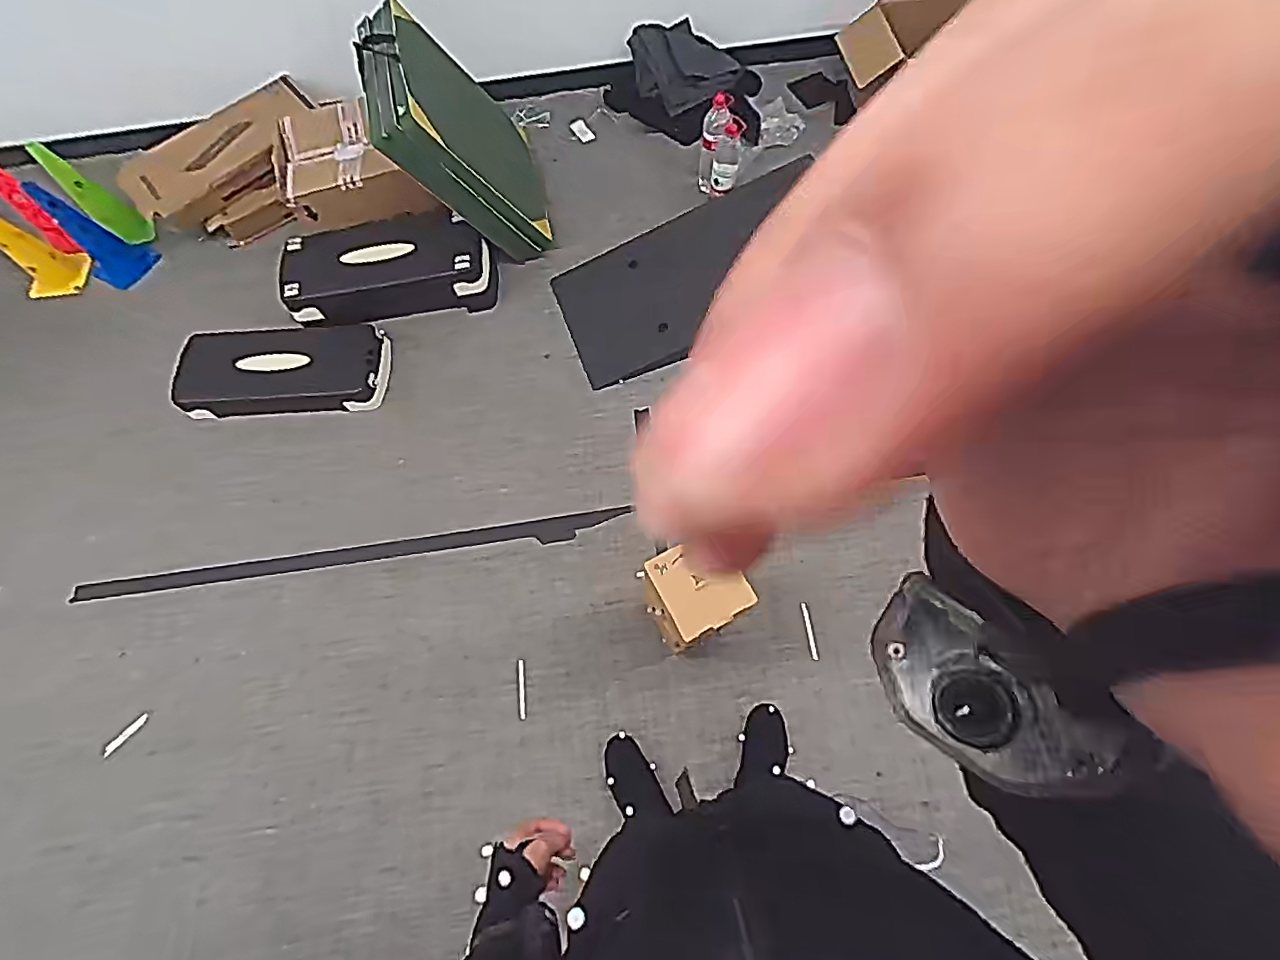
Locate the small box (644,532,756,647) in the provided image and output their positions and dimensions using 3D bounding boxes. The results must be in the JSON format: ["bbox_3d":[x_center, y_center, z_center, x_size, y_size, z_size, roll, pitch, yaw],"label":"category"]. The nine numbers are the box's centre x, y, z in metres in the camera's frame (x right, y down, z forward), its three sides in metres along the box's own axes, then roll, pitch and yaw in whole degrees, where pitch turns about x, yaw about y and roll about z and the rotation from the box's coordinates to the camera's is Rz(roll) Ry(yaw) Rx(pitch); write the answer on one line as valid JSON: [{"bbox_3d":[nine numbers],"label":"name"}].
[{"bbox_3d":[0.121,0.237,1.140,0.168,0.176,0.179,-27,71,-8],"label":"small box"}]
